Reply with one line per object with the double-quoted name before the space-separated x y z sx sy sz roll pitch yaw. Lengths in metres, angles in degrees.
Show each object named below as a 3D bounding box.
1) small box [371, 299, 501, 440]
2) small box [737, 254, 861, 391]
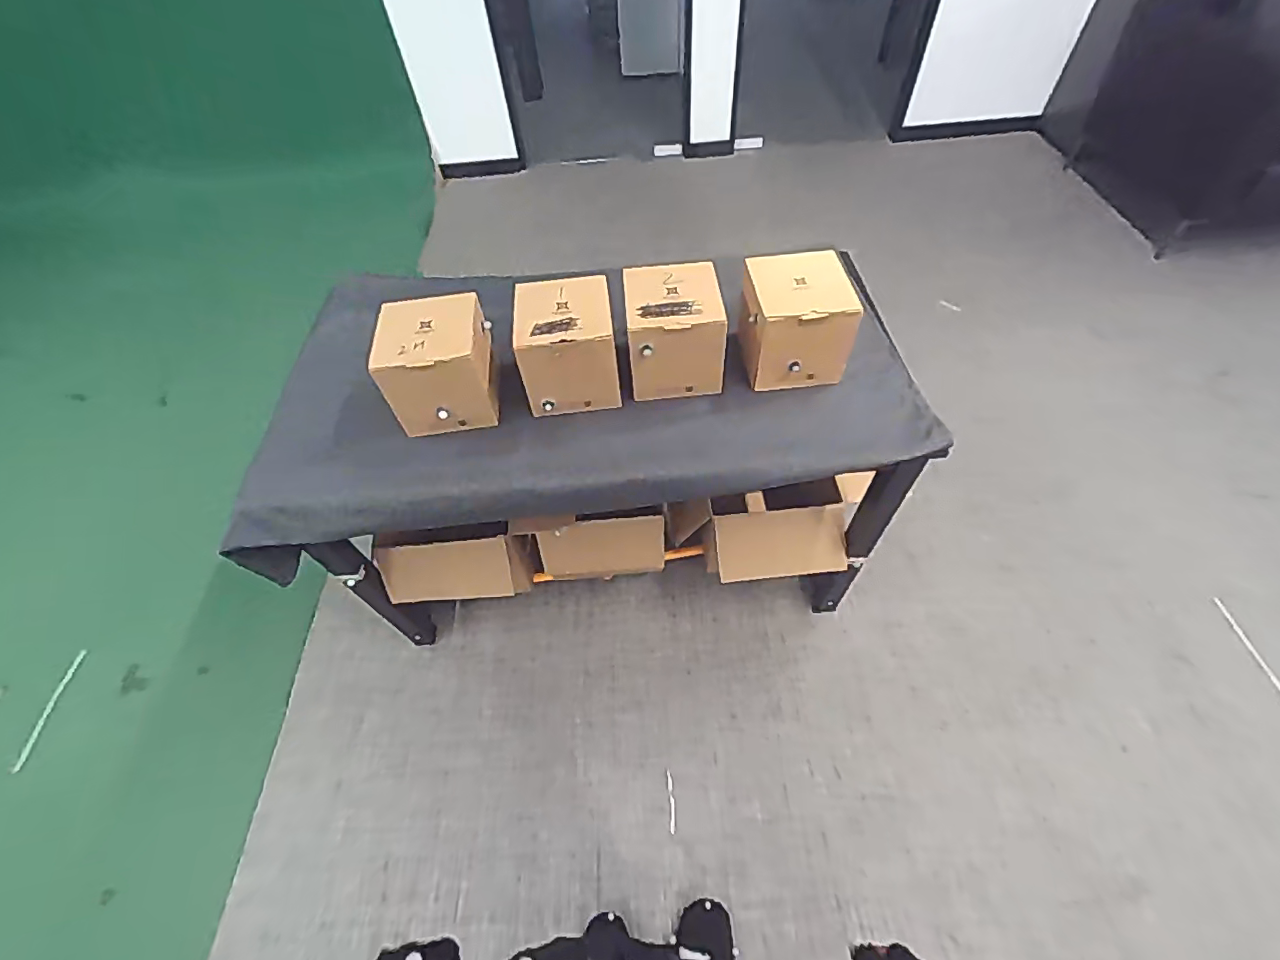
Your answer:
"small box" -0.355 -0.197 0.976 0.168 0.176 0.179 -9 54 -2
"small box" 0.279 -0.289 1.000 0.168 0.176 0.179 -6 54 0
